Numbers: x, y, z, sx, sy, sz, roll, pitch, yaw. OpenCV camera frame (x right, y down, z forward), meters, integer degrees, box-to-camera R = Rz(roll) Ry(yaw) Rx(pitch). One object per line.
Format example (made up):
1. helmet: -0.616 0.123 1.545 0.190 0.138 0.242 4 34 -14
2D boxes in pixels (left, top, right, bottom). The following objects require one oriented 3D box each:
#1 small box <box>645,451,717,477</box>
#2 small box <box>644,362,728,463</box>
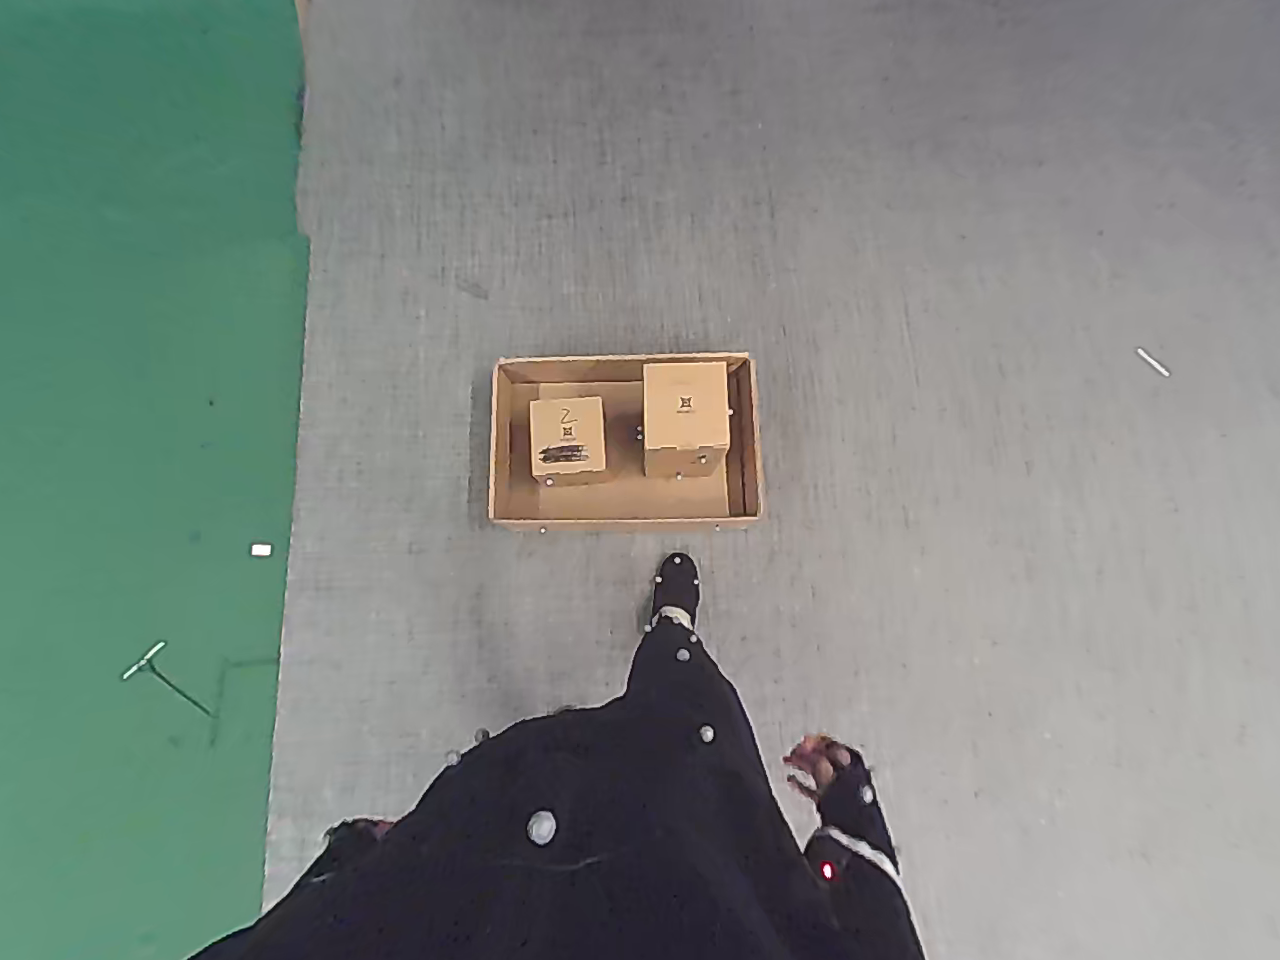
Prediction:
1. small box: 0.095 -0.109 1.296 0.168 0.176 0.179 -1 80 3
2. small box: 0.093 -0.133 1.135 0.168 0.176 0.179 -1 80 1
